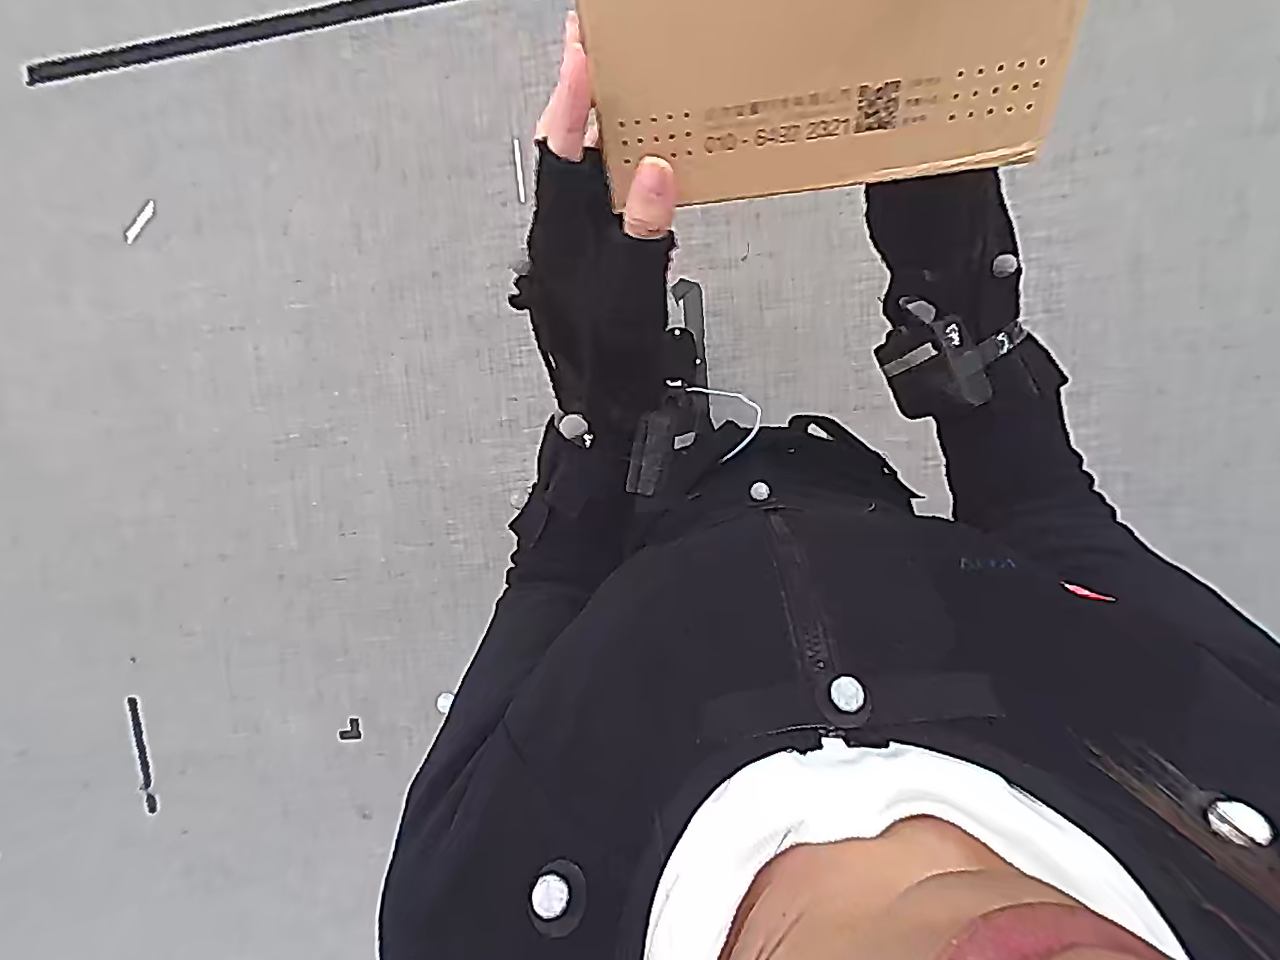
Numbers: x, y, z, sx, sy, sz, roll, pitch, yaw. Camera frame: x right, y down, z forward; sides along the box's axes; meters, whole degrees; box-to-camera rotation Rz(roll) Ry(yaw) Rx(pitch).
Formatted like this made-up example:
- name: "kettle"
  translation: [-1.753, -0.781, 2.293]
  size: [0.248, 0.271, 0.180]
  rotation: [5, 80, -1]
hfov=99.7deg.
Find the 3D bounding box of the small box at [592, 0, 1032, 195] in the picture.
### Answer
- name: "small box"
  translation: [0.069, -0.244, 0.249]
  size: [0.168, 0.179, 0.176]
  rotation: [-2, 131, 10]
